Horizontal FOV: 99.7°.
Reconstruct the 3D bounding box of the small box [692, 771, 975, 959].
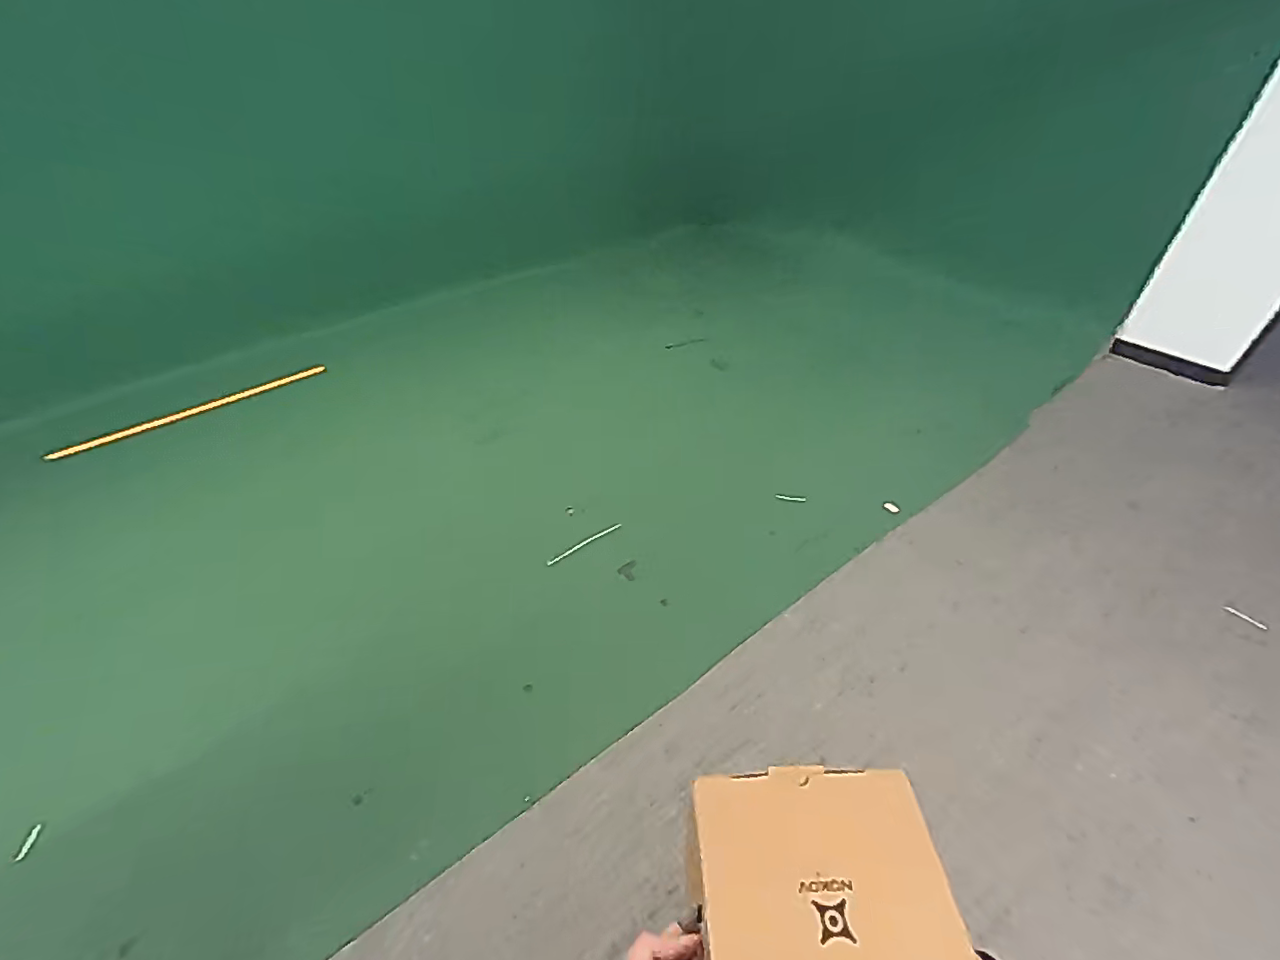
[{"bbox_3d":[0.129,0.346,0.404,0.168,0.176,0.179,-2,38,0],"label":"small box"}]
